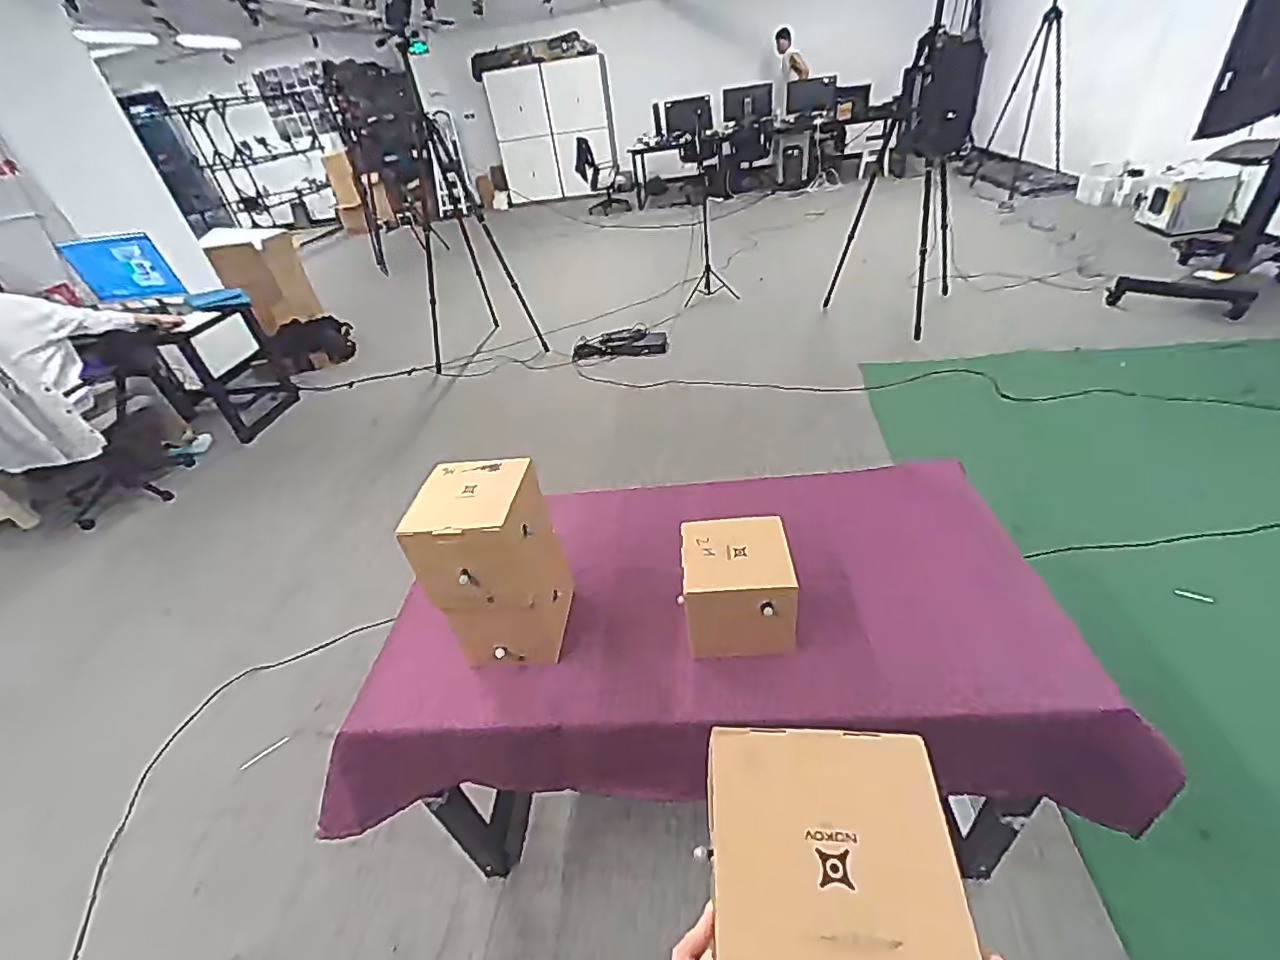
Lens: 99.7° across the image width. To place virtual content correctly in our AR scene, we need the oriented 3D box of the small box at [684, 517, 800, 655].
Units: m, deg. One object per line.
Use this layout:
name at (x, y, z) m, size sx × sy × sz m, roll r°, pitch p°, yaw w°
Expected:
small box at (0.169, 0.184, 0.932) m, size 0.179 × 0.176 × 0.168 m, roll -5°, pitch 36°, yaw 7°

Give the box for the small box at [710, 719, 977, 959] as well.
small box at (0.142, 0.316, 0.442) m, size 0.168 × 0.176 × 0.179 m, roll -1°, pitch 49°, yaw 7°

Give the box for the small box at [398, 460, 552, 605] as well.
small box at (-0.252, 0.089, 0.880) m, size 0.168 × 0.176 × 0.179 m, roll -3°, pitch 38°, yaw 8°

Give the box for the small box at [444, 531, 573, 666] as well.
small box at (-0.226, 0.215, 0.983) m, size 0.168 × 0.176 × 0.179 m, roll -4°, pitch 38°, yaw 8°
